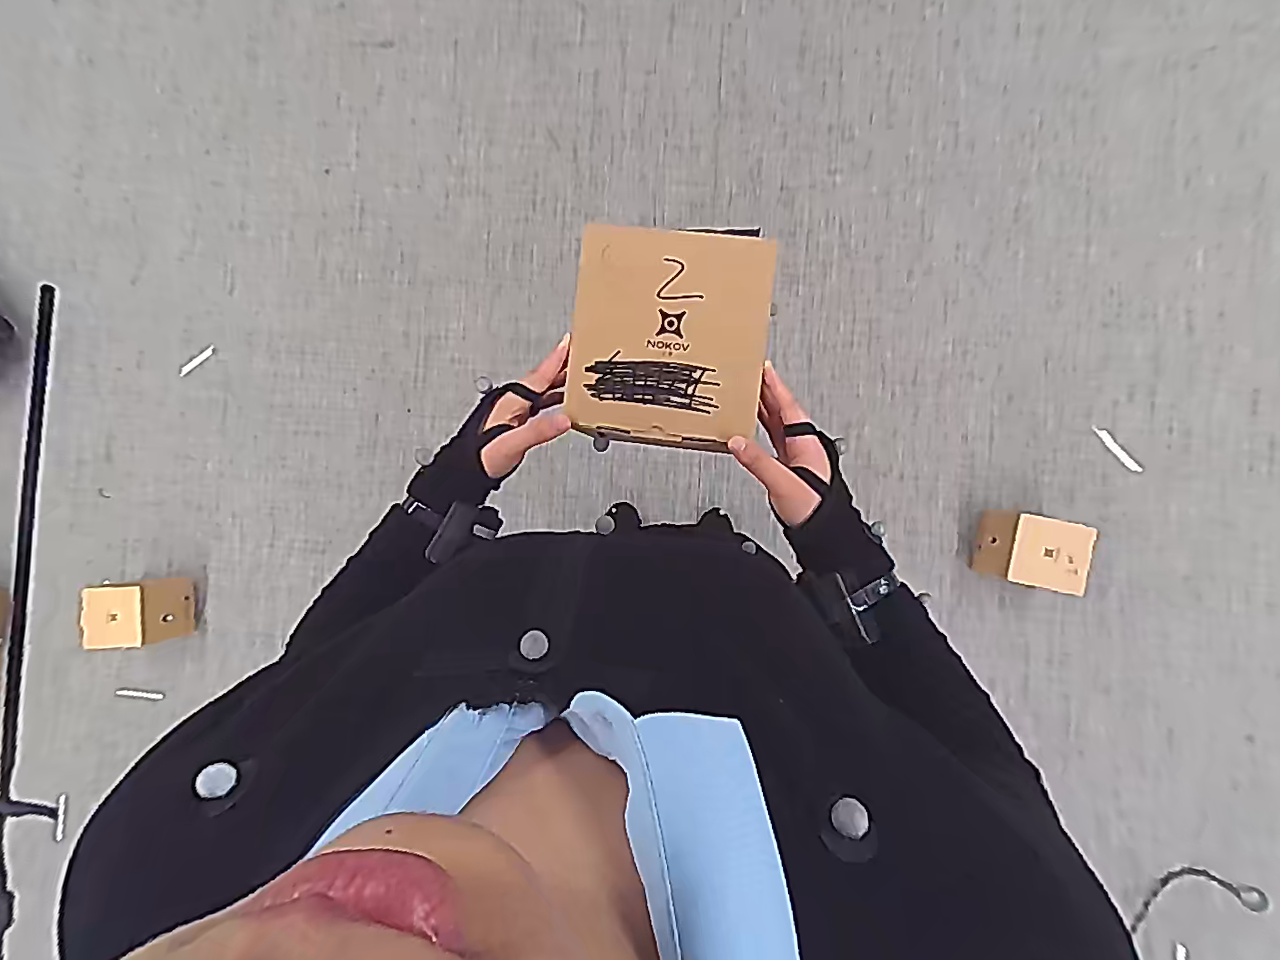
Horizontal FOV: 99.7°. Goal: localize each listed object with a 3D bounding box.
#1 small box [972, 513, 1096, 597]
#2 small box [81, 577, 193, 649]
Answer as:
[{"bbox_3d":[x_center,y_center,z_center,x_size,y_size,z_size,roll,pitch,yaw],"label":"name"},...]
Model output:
[{"bbox_3d":[0.967,0.179,1.344,0.179,0.176,0.168,13,90,5],"label":"small box"},{"bbox_3d":[-1.414,0.372,1.532,0.179,0.176,0.168,-4,88,5],"label":"small box"}]
